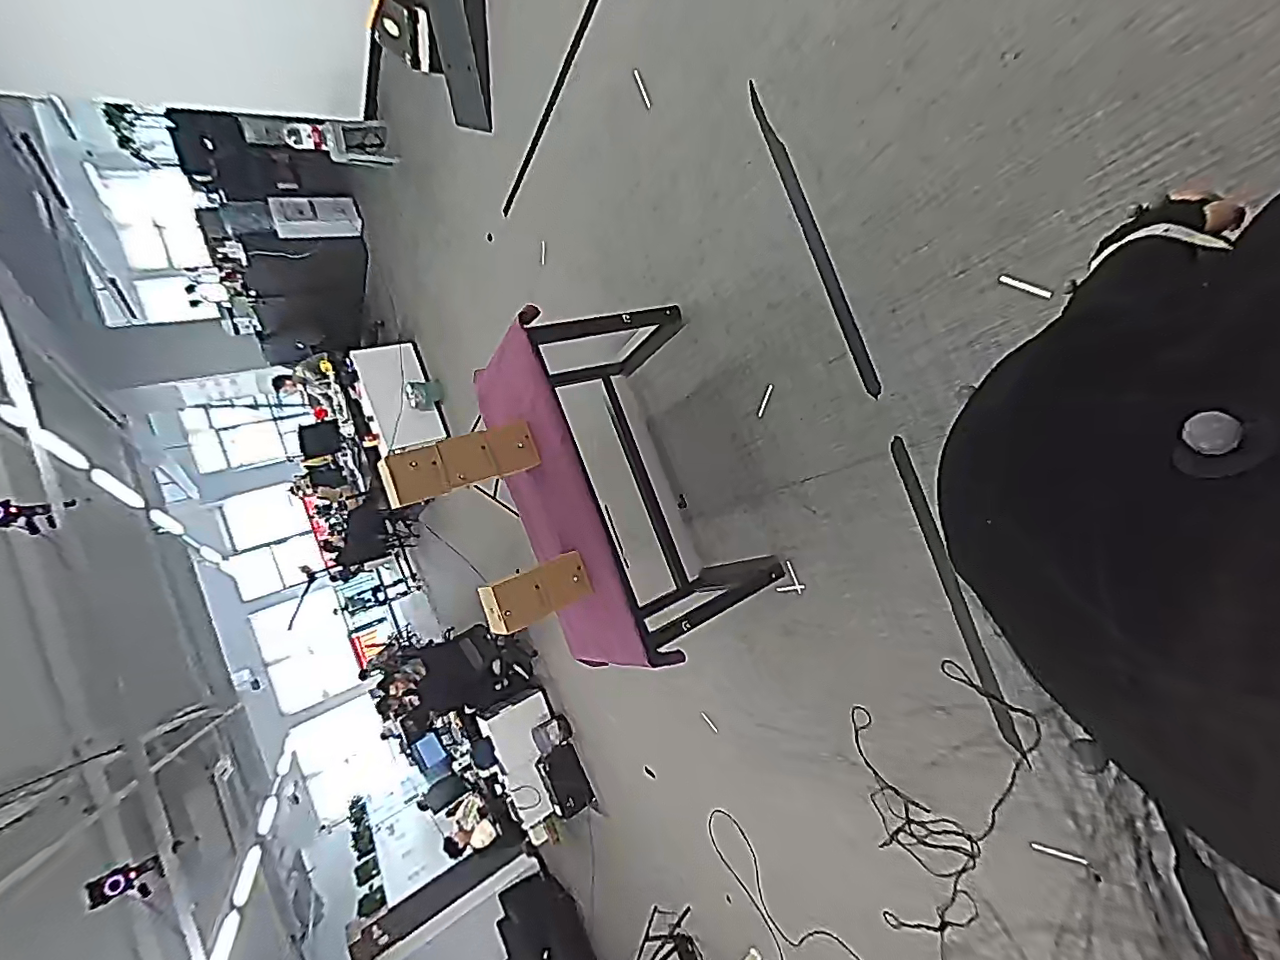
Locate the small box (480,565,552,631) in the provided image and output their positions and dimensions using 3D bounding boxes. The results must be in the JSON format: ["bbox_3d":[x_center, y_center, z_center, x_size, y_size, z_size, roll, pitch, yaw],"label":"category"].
[{"bbox_3d":[-0.422,0.399,1.845,0.179,0.176,0.168,-20,90,58],"label":"small box"}]

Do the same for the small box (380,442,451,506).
[{"bbox_3d":[-0.742,-0.020,1.795,0.179,0.176,0.168,-11,96,59],"label":"small box"}]

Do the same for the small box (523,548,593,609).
[{"bbox_3d":[-0.292,0.351,1.933,0.179,0.176,0.168,-22,88,57],"label":"small box"}]

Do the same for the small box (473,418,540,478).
[{"bbox_3d":[-0.487,-0.116,1.975,0.179,0.176,0.168,-14,95,58],"label":"small box"}]
